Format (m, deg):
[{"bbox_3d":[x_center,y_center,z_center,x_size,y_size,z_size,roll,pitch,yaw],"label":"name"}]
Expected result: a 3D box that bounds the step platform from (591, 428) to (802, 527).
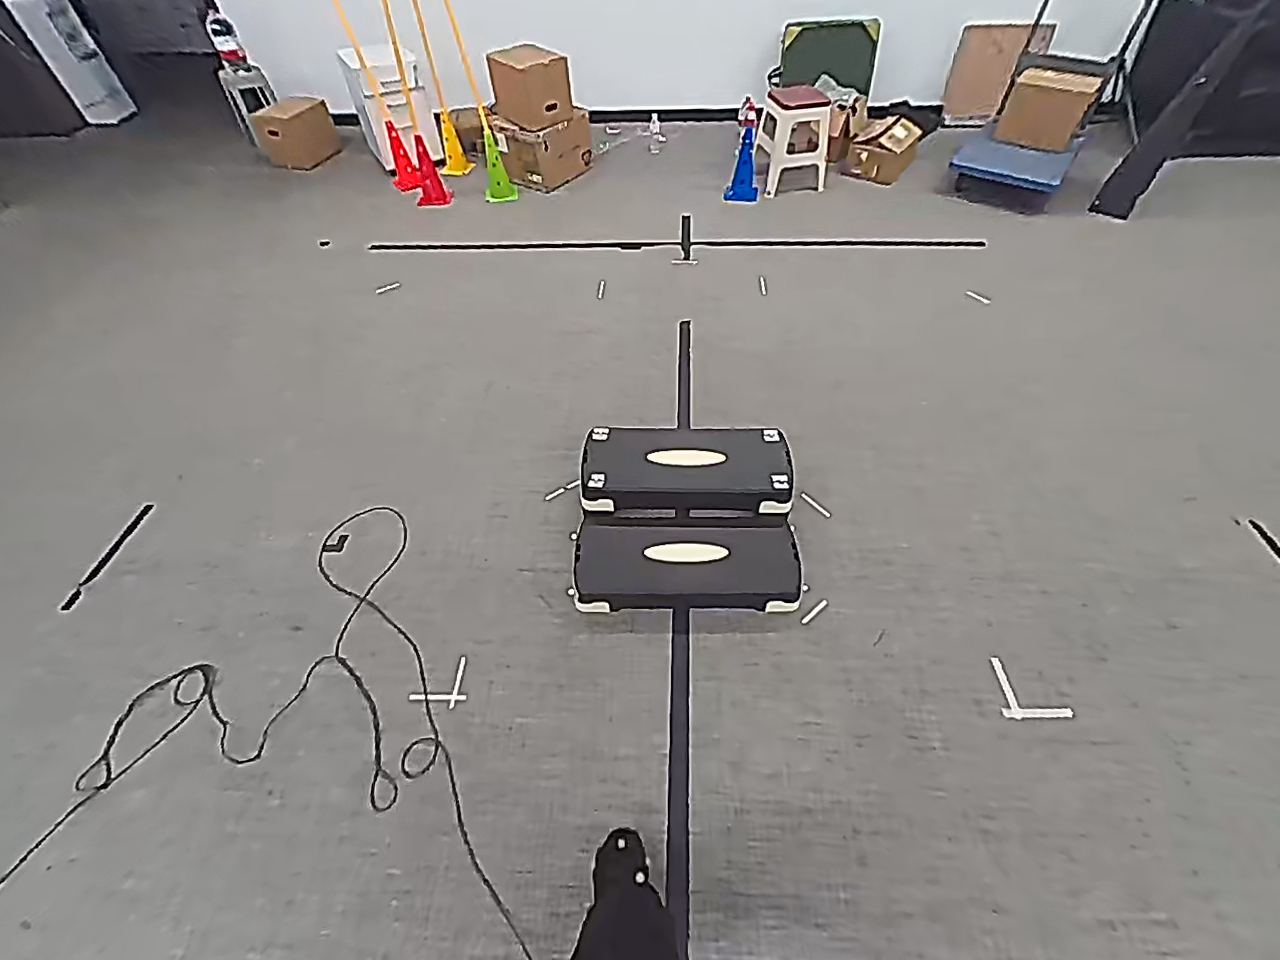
[{"bbox_3d":[0.178,-0.013,1.790,0.684,0.204,0.286,0,50,1],"label":"step platform"}]
